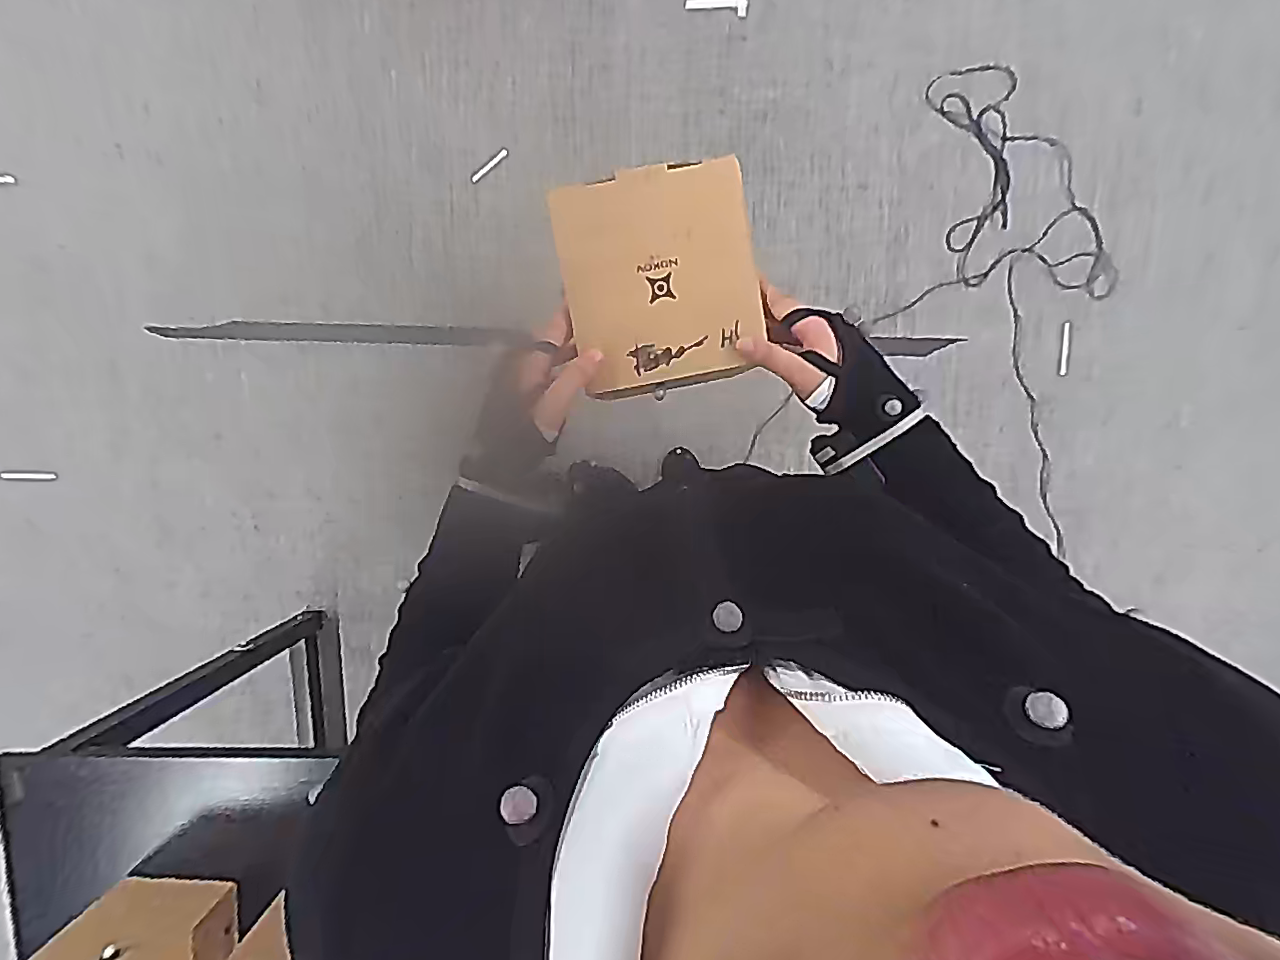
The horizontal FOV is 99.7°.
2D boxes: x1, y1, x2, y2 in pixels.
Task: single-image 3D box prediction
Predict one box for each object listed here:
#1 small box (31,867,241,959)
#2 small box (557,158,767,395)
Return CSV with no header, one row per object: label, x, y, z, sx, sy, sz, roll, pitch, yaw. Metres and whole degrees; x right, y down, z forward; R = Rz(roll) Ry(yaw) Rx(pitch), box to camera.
small box,-0.704,0.689,0.764,0.179,0.176,0.168,2,95,1
small box,0.020,-0.188,0.553,0.168,0.176,0.179,-10,97,2
